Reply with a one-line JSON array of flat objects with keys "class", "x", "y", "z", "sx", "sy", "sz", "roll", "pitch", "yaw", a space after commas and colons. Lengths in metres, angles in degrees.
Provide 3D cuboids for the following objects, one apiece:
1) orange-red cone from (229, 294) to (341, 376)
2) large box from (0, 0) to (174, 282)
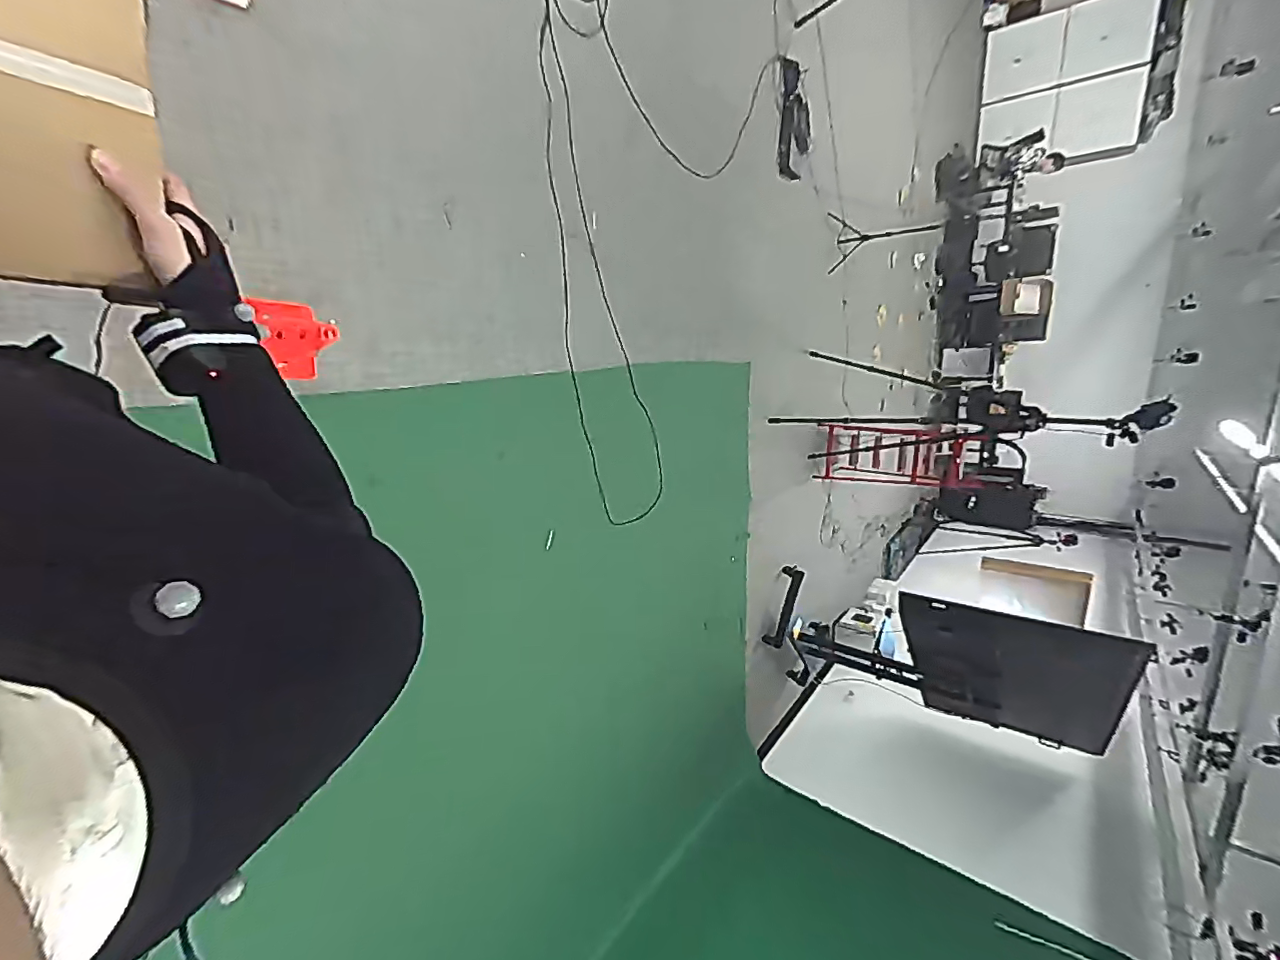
[{"class": "orange-red cone", "x": -0.828, "y": -0.354, "z": 1.322, "sx": 0.199, "sy": 0.360, "sz": 0.198, "roll": -9, "pitch": 105, "yaw": -52}, {"class": "large box", "x": -0.665, "y": -0.339, "z": 0.408, "sx": 0.408, "sy": 0.320, "sz": 0.320, "roll": -12, "pitch": 113, "yaw": -50}]
